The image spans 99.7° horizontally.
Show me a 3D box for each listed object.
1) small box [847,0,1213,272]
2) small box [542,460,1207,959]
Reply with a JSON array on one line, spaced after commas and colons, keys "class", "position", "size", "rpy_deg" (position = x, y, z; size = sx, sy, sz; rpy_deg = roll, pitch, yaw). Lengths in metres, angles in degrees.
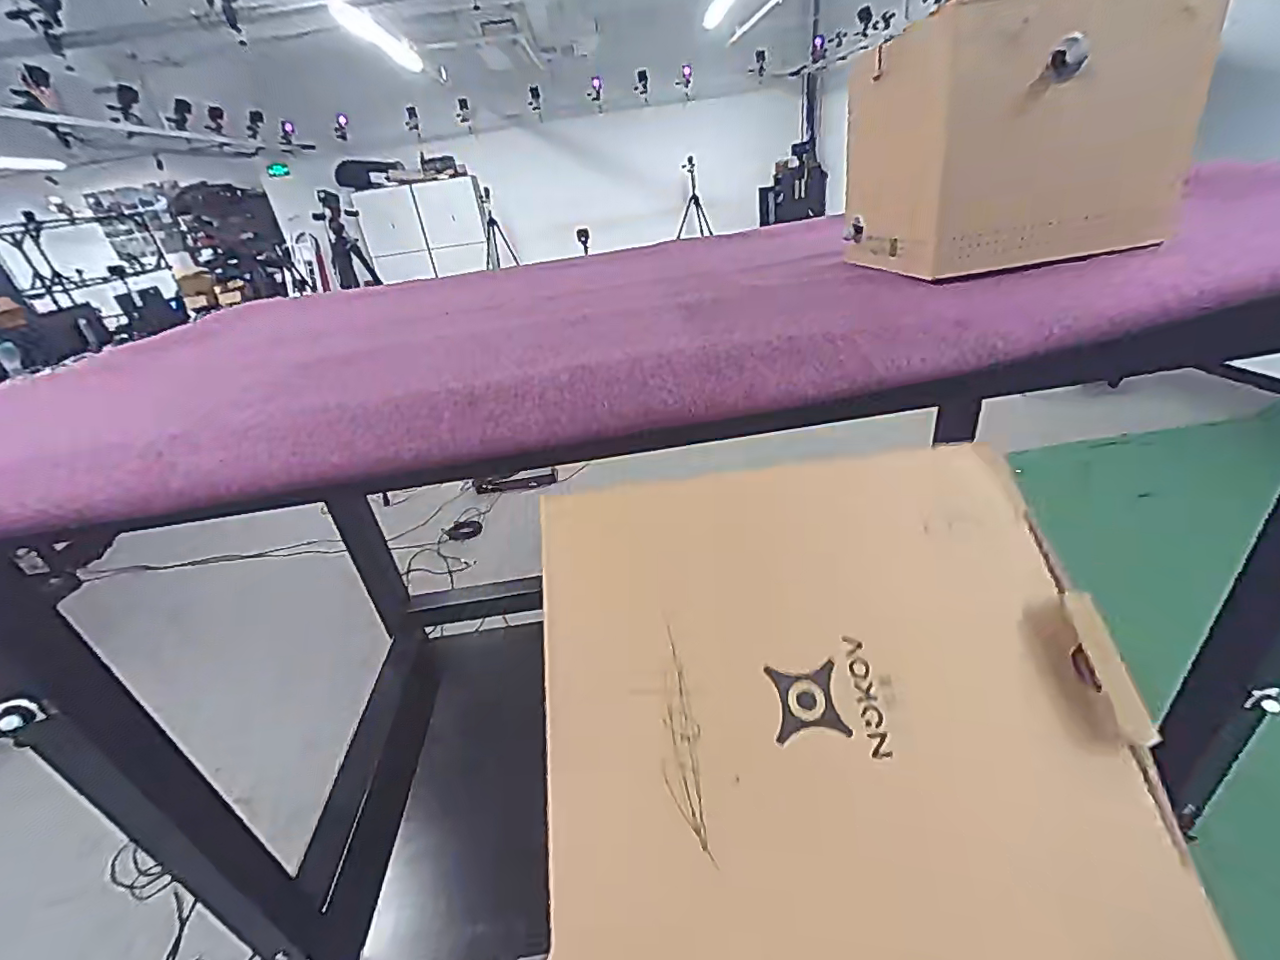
[{"class": "small box", "position": [0.278, -0.269, 0.425], "size": [0.179, 0.176, 0.168], "rpy_deg": [-9, 28, 1]}, {"class": "small box", "position": [0.063, 0.110, 0.245], "size": [0.179, 0.176, 0.168], "rpy_deg": [-8, 63, 3]}]
